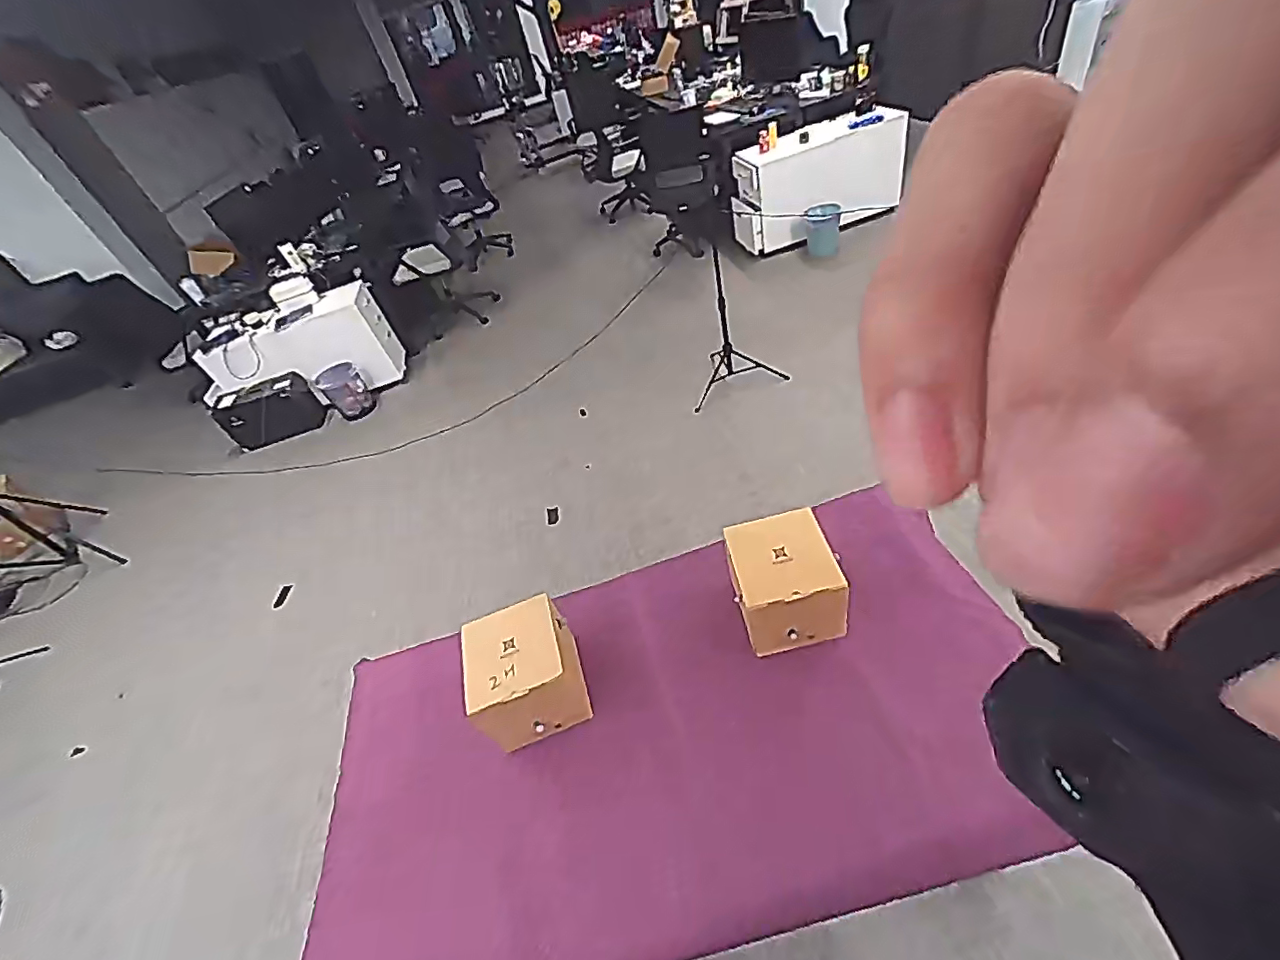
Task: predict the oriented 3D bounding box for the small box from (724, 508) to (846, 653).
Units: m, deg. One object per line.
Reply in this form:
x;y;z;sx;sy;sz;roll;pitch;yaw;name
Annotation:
0.258;0.183;0.980;0.168;0.176;0.179;-15;44;4;small box

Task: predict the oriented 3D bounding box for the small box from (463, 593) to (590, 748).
-0.204;0.342;0.970;0.168;0.176;0.179;-21;43;-3;small box
